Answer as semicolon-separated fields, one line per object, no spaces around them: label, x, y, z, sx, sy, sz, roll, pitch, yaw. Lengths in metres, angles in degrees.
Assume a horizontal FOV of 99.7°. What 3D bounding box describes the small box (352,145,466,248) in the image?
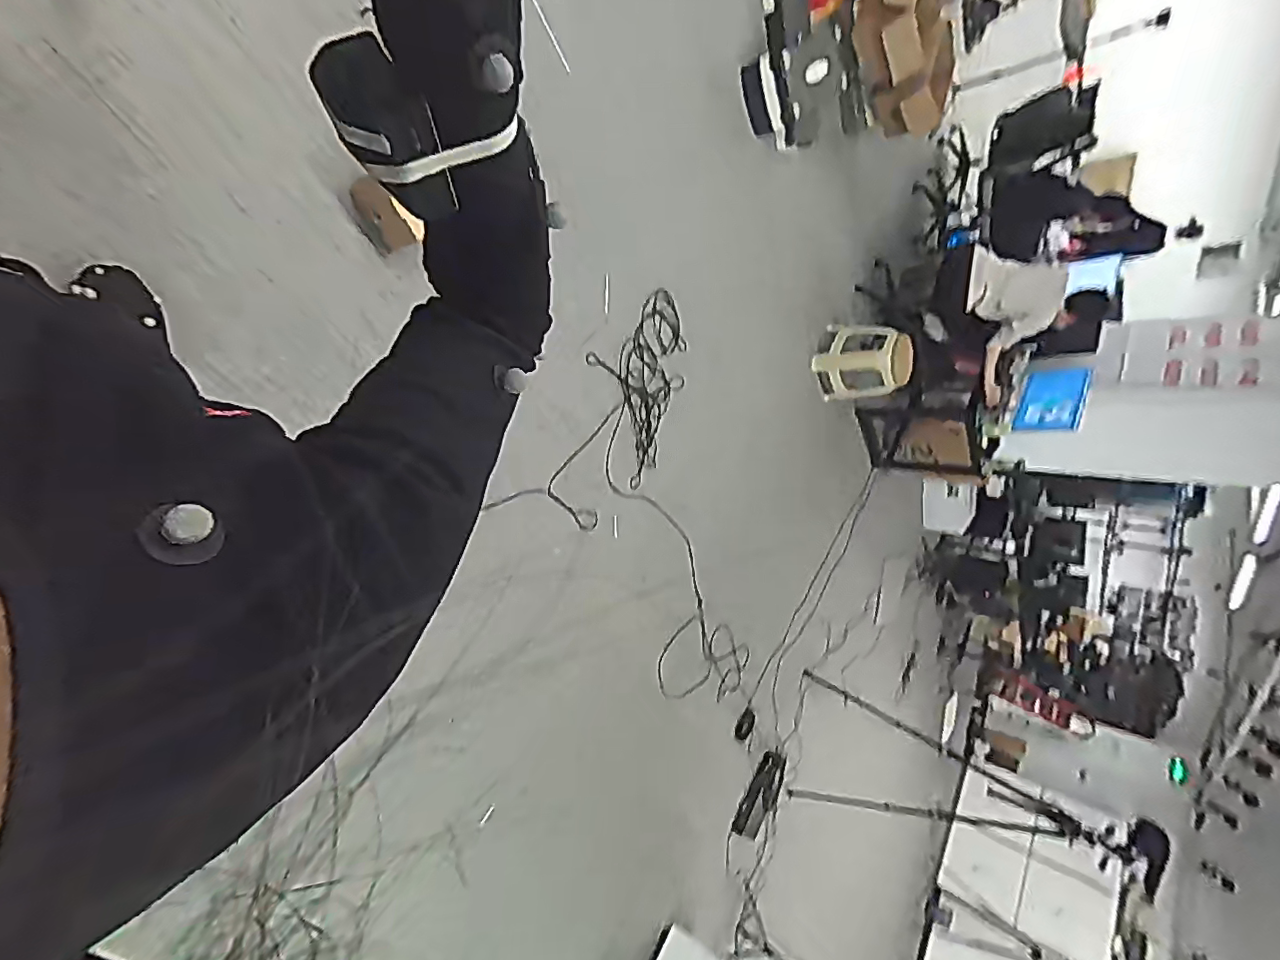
small box;-0.588;-0.714;1.372;0.179;0.176;0.168;-49;128;-30
